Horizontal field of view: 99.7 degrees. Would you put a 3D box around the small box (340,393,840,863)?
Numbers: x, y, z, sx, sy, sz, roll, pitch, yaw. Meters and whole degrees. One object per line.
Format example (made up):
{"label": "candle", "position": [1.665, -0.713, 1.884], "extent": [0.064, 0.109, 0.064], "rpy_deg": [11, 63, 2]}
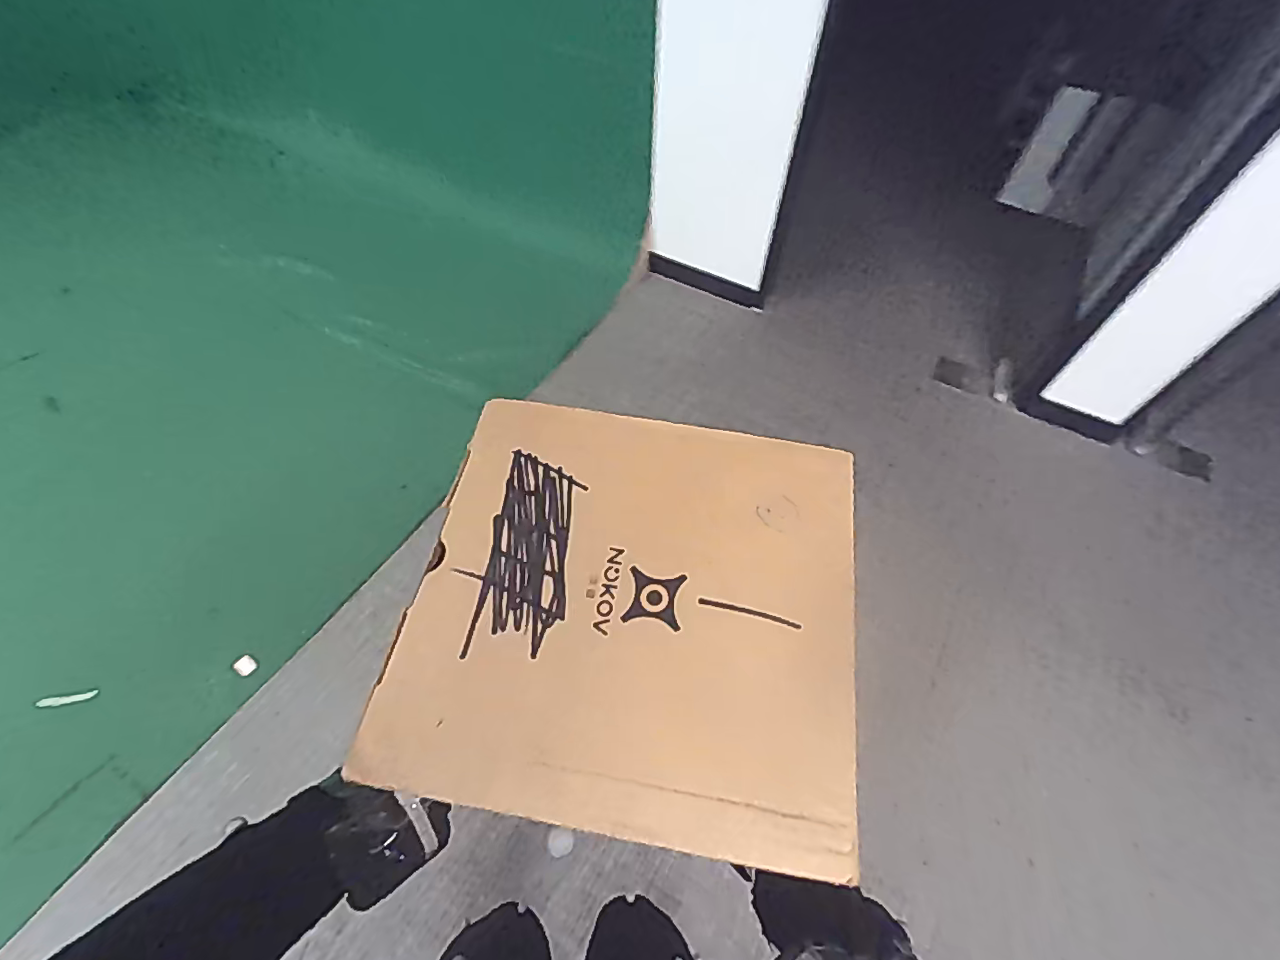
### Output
{"label": "small box", "position": [-0.008, 0.079, 0.289], "extent": [0.179, 0.176, 0.168], "rpy_deg": [9, 63, 4]}
